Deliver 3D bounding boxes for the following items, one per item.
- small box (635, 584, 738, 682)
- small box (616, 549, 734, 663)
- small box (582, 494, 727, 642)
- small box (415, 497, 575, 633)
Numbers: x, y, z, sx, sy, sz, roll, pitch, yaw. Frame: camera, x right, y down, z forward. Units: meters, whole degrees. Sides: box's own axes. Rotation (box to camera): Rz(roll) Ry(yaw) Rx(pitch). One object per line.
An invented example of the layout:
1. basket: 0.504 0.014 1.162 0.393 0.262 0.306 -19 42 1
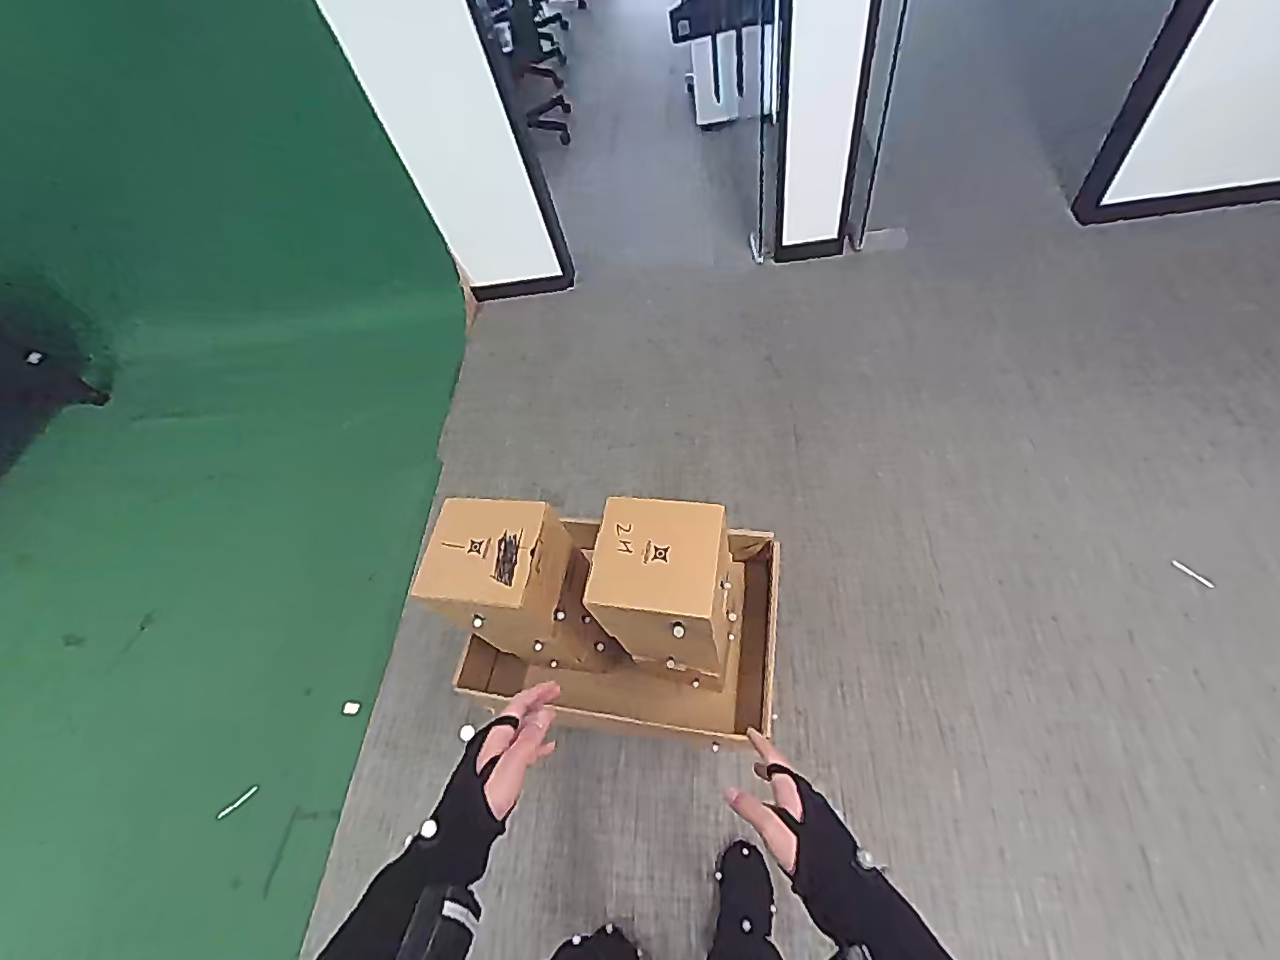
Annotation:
1. small box: 0.103 0.297 1.096 0.168 0.176 0.179 7 62 17
2. small box: 0.068 0.216 0.958 0.179 0.176 0.168 6 62 16
3. small box: 0.035 0.138 0.816 0.179 0.176 0.168 4 61 15
4. small box: -0.220 0.142 0.878 0.179 0.176 0.168 2 60 14
